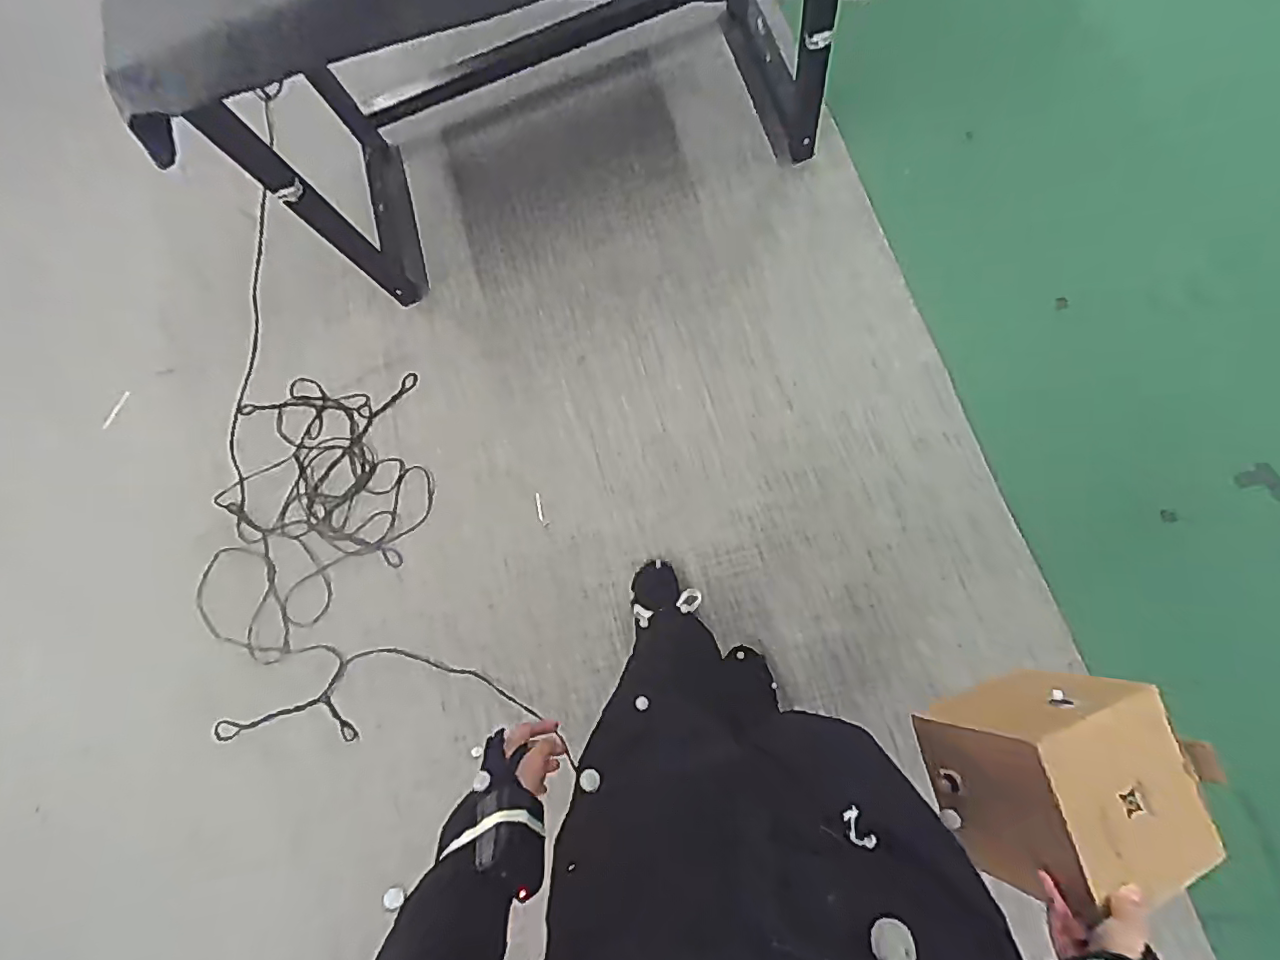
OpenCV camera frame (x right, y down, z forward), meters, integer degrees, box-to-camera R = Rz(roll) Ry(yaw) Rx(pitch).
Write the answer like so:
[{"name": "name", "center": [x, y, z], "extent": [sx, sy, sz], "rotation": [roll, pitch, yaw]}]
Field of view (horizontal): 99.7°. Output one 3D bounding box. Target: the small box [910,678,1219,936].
[{"name": "small box", "center": [0.438, 0.323, 0.583], "extent": [0.179, 0.176, 0.168], "rotation": [-12, 78, -19]}]
